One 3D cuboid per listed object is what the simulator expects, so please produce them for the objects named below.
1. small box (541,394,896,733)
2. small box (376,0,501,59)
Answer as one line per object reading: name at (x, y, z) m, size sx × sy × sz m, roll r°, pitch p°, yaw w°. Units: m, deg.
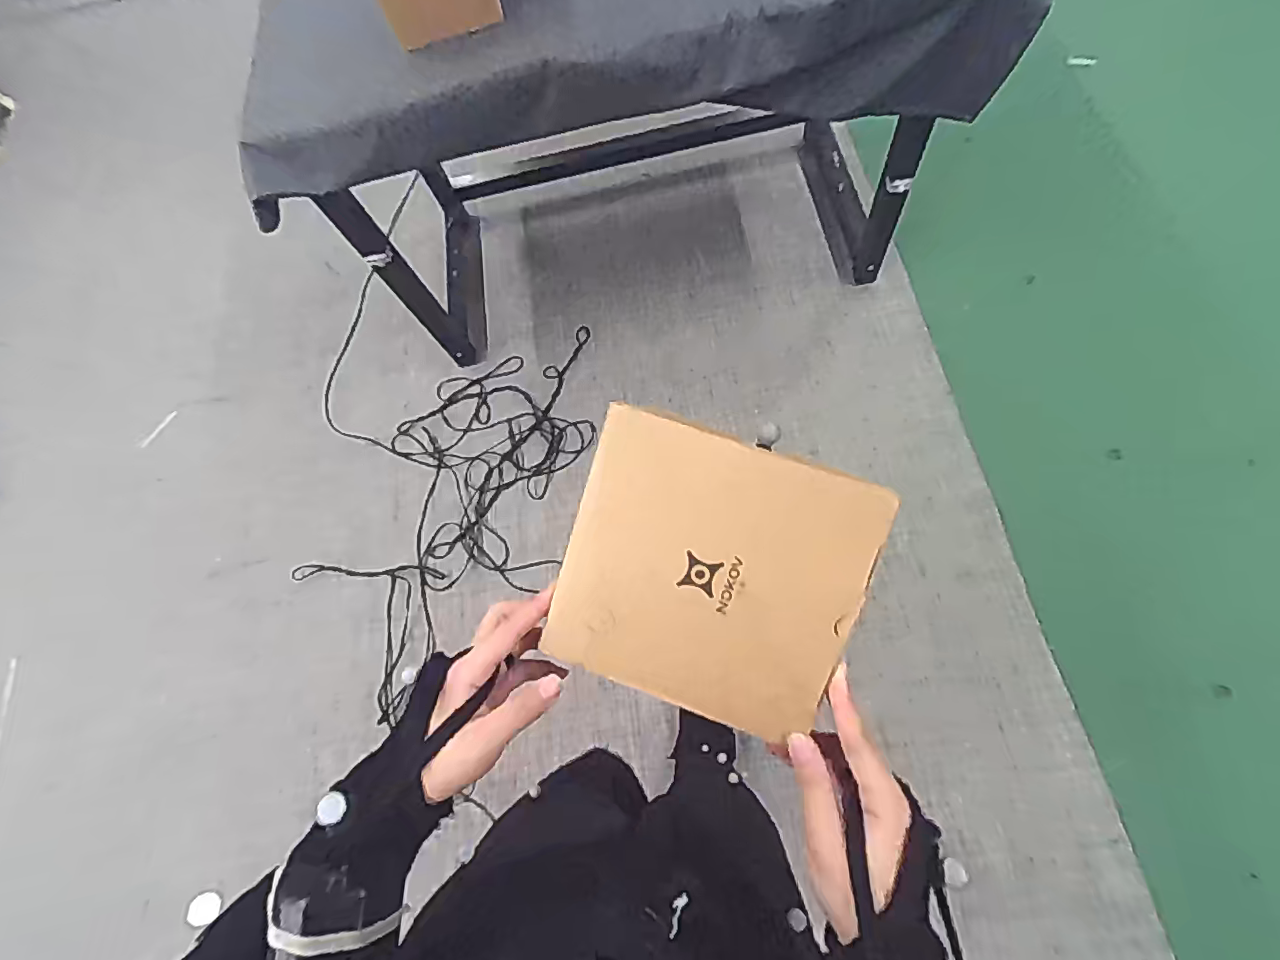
small box at (0.054, 0.044, 0.404) m, size 0.179 × 0.176 × 0.168 m, roll 18°, pitch 98°, yaw 8°
small box at (-0.329, -0.812, 0.844) m, size 0.179 × 0.176 × 0.168 m, roll -14°, pitch 67°, yaw 5°
